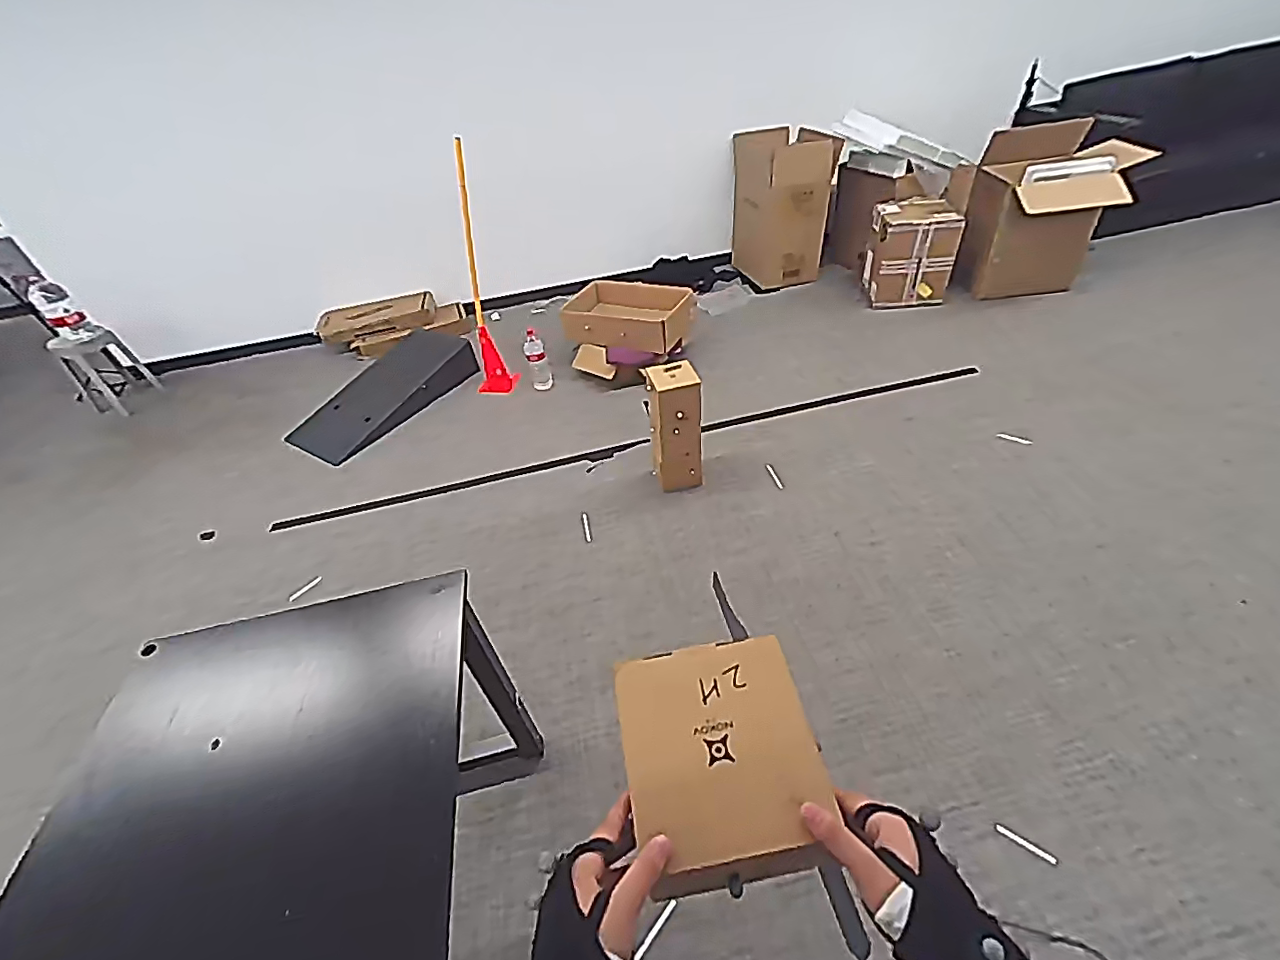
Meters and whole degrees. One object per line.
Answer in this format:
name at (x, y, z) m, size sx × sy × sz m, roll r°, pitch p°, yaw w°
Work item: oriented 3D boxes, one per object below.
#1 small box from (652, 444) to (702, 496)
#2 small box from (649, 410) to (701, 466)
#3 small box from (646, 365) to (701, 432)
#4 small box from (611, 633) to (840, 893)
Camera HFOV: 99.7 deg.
small box at (0.155, -0.058, 2.254) m, size 0.179 × 0.176 × 0.168 m, roll -14°, pitch 40°, yaw -4°
small box at (0.139, -0.181, 2.147) m, size 0.168 × 0.176 × 0.179 m, roll -14°, pitch 40°, yaw -7°
small box at (0.126, -0.307, 2.041) m, size 0.168 × 0.176 × 0.179 m, roll -14°, pitch 41°, yaw -7°
small box at (0.072, 0.281, 0.531) m, size 0.168 × 0.176 × 0.179 m, roll -10°, pitch 46°, yaw -3°
